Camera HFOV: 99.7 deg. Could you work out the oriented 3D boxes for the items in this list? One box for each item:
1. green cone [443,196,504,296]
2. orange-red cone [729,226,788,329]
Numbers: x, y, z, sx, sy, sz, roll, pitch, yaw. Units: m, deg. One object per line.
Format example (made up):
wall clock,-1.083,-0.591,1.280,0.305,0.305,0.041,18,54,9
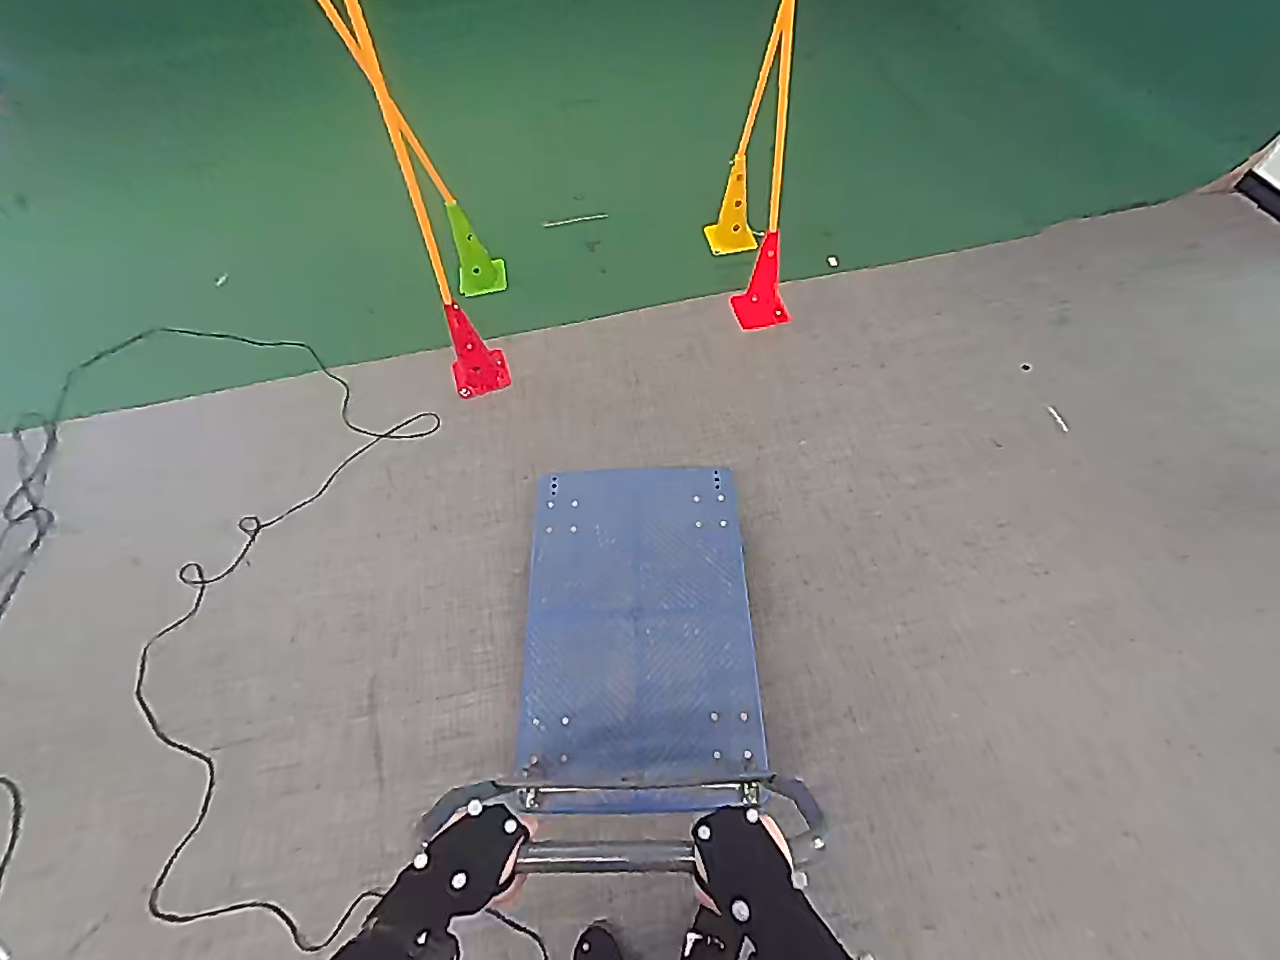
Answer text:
green cone,-0.701,-0.958,2.178,0.200,0.368,0.202,-12,59,-3
orange-red cone,0.459,-0.765,1.995,0.198,0.360,0.199,-11,58,-4
